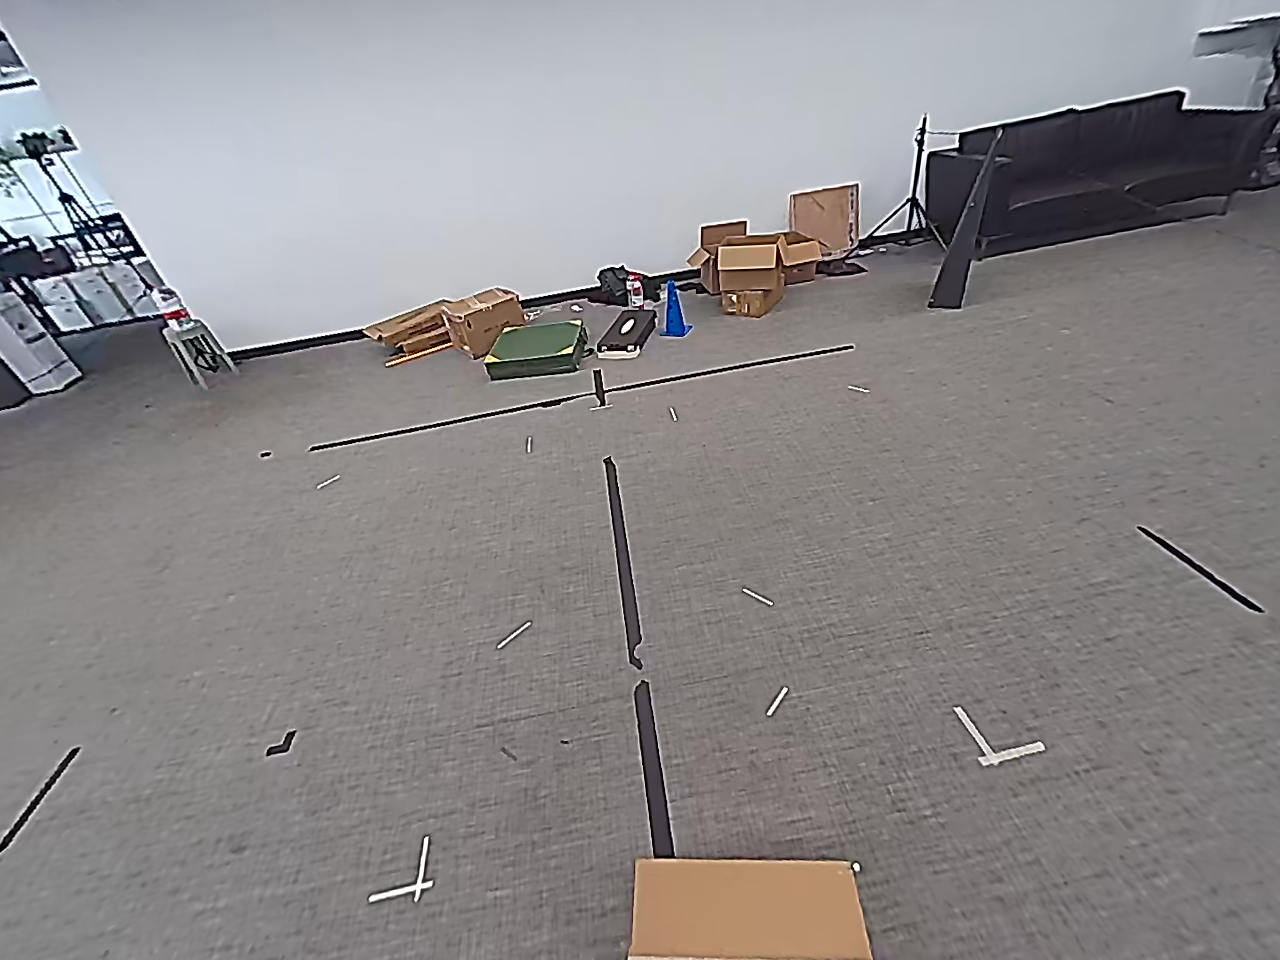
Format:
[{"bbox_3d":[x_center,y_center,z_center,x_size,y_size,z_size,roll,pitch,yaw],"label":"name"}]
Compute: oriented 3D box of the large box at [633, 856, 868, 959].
[{"bbox_3d":[0.199,0.934,0.999,0.408,0.320,0.320,-4,36,7],"label":"large box"}]
